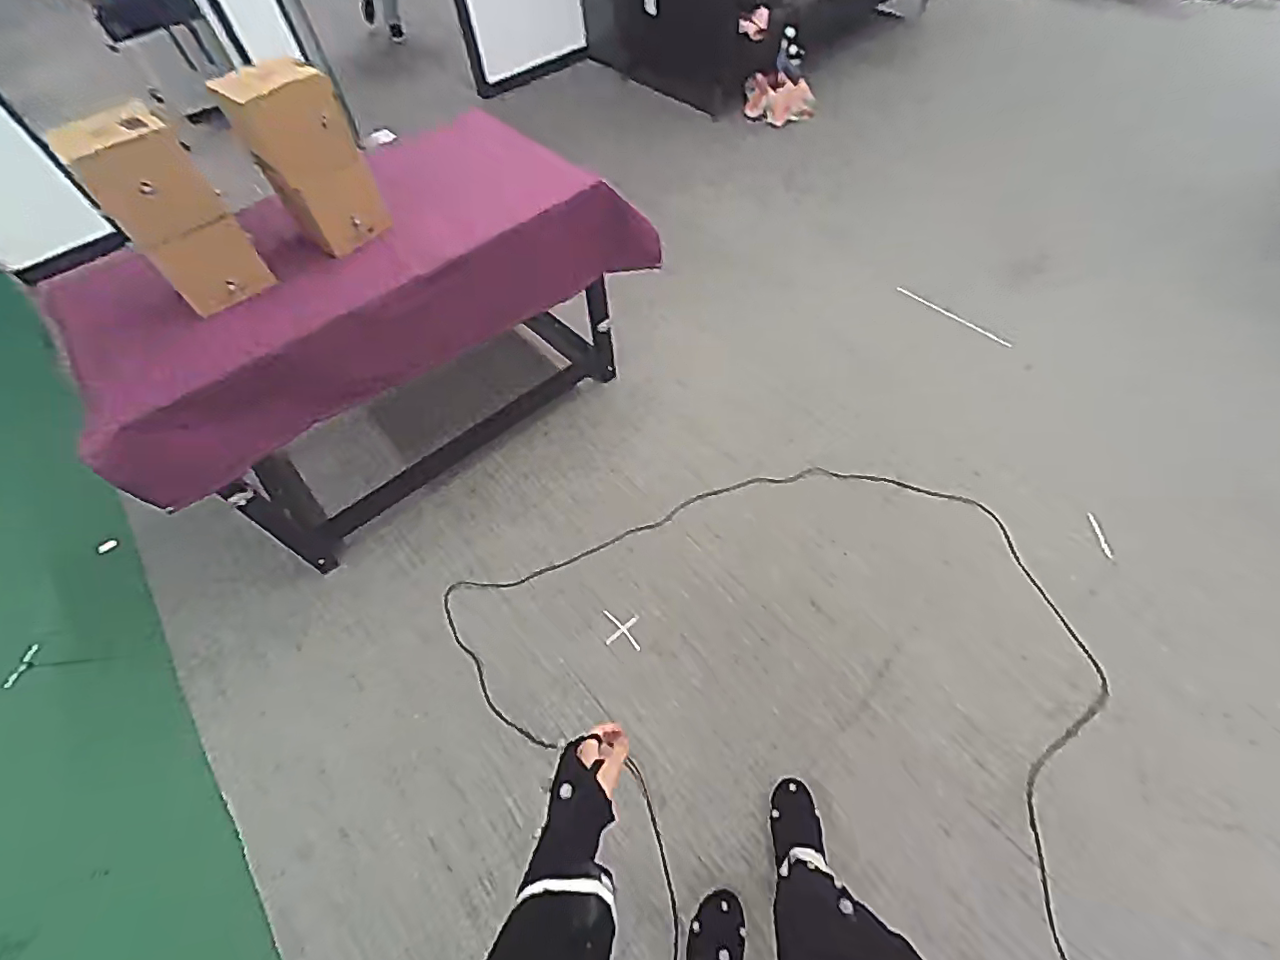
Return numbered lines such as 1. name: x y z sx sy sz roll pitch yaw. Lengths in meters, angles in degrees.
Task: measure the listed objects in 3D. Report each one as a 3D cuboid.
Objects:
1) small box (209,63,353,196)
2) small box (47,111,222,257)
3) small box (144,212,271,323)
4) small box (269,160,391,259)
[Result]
1. small box: -0.751 -0.748 1.156 0.168 0.176 0.179 36 66 25
2. small box: -0.966 -0.573 1.054 0.179 0.176 0.168 -40 63 -20
3. small box: -0.957 -0.482 1.190 0.179 0.176 0.168 -40 62 -21
4. small box: -0.741 -0.661 1.294 0.179 0.176 0.168 35 66 23
